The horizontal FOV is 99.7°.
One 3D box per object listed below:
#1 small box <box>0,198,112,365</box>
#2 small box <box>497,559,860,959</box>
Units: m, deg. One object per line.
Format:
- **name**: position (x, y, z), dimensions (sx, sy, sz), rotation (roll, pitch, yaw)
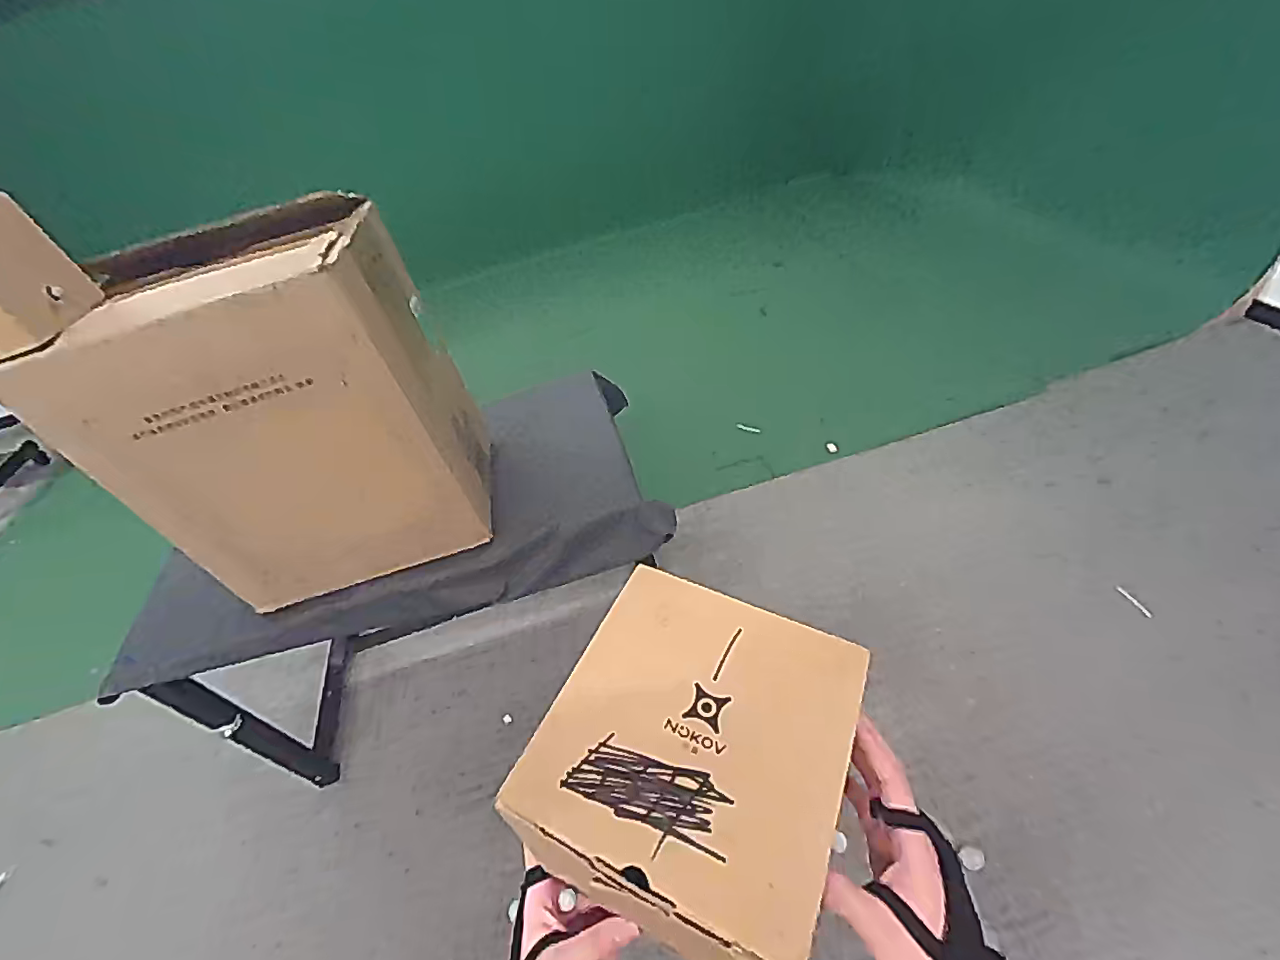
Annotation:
- **small box**: position (-0.942, -0.278, 0.784), dimensions (0.168, 0.176, 0.179), rotation (-18, 42, 2)
- **small box**: position (0.034, 0.193, 0.375), dimensions (0.168, 0.176, 0.179), rotation (18, 47, 20)
